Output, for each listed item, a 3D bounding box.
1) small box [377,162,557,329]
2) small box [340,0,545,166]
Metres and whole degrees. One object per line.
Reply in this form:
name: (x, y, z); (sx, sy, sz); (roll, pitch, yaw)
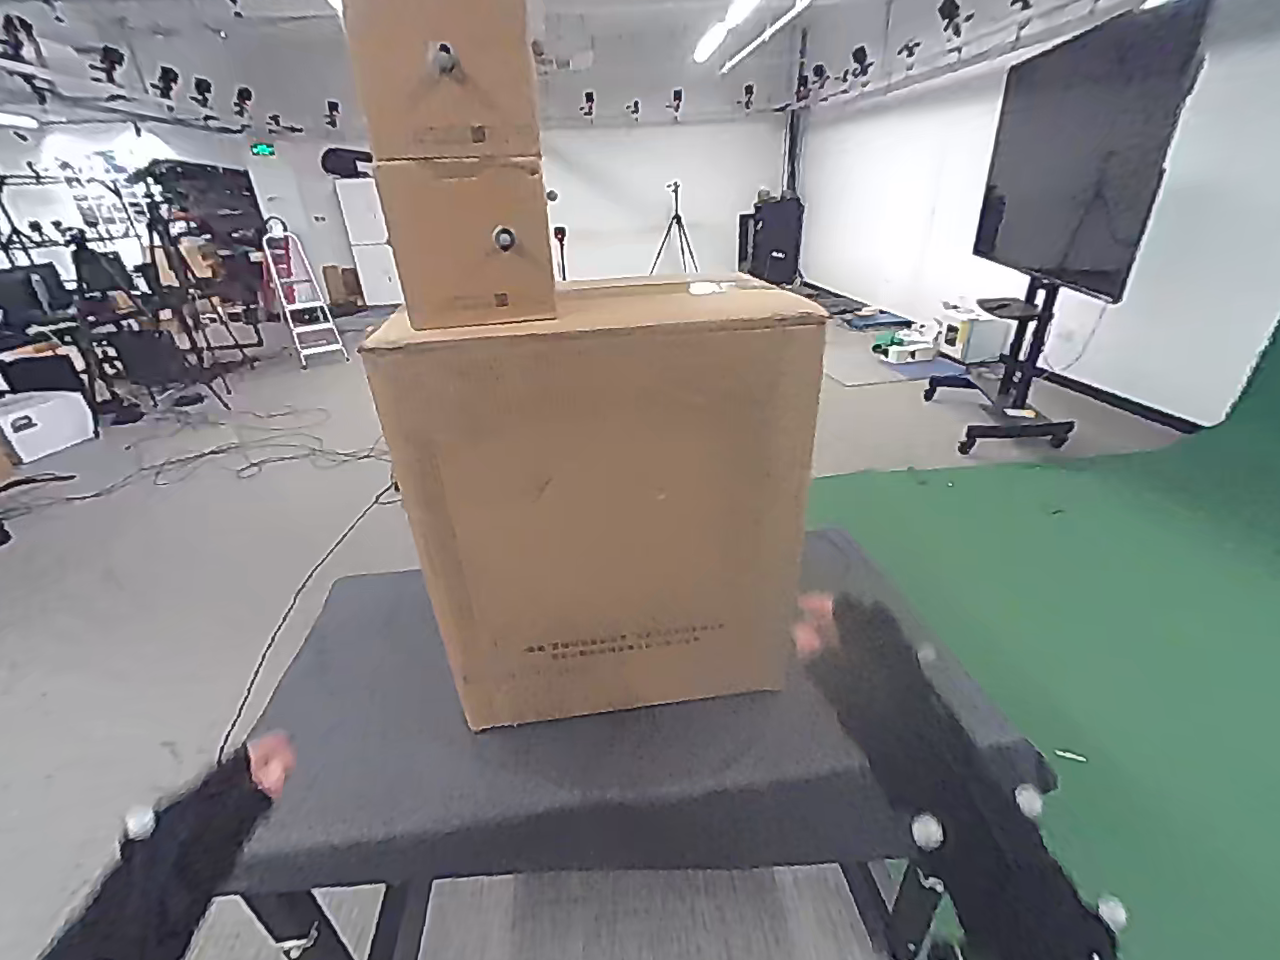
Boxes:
small box: (-0.191, -0.282, 0.652); (0.168, 0.176, 0.179); (-5, 29, -8)
small box: (-0.192, -0.426, 0.574); (0.168, 0.176, 0.179); (-5, 31, -8)
